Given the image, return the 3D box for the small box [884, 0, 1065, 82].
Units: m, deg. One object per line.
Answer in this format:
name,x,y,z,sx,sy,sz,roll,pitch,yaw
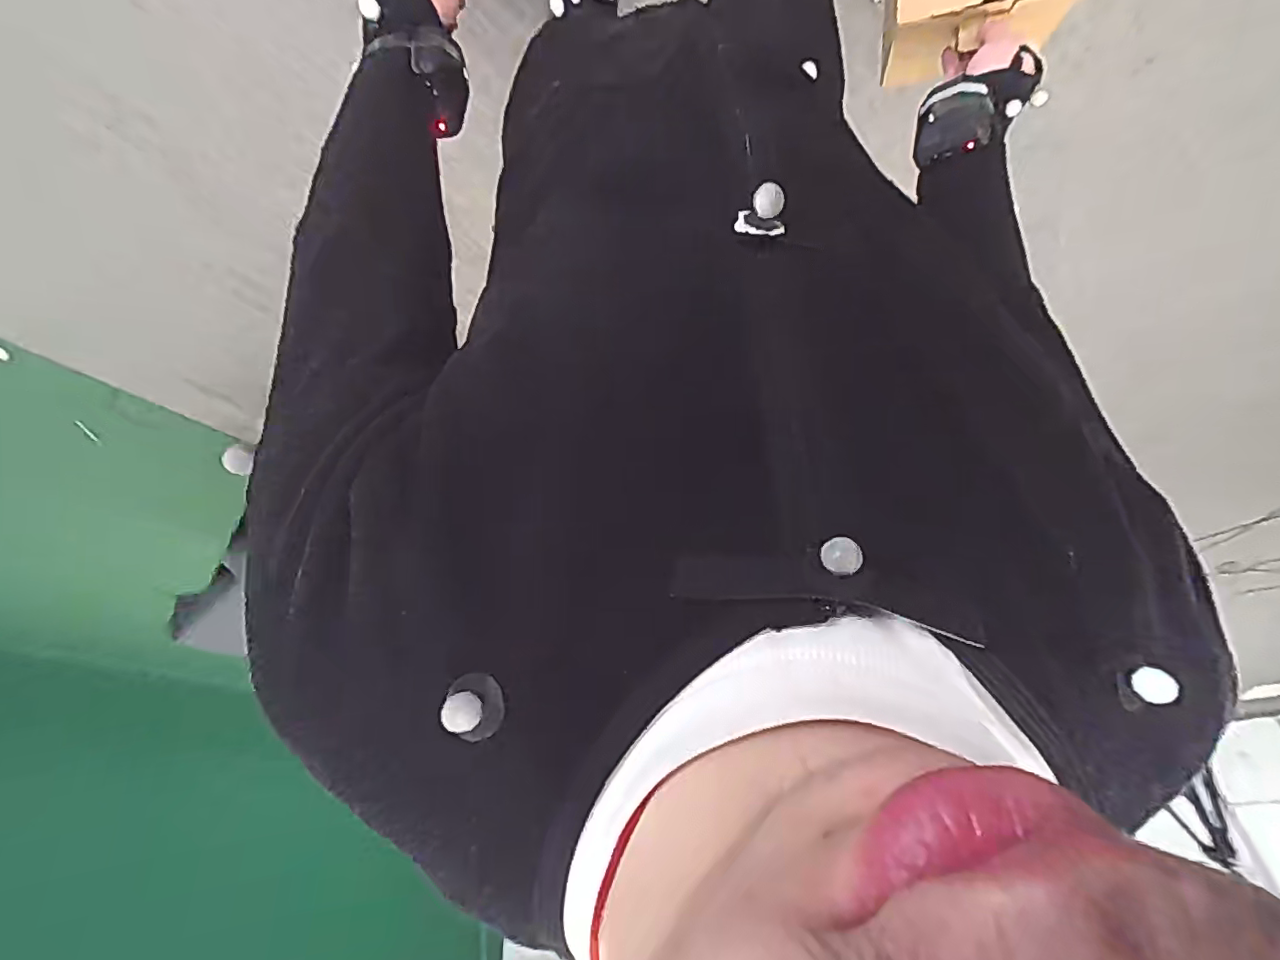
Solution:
small box,0.356,-0.560,0.574,0.168,0.176,0.179,-1,104,21
